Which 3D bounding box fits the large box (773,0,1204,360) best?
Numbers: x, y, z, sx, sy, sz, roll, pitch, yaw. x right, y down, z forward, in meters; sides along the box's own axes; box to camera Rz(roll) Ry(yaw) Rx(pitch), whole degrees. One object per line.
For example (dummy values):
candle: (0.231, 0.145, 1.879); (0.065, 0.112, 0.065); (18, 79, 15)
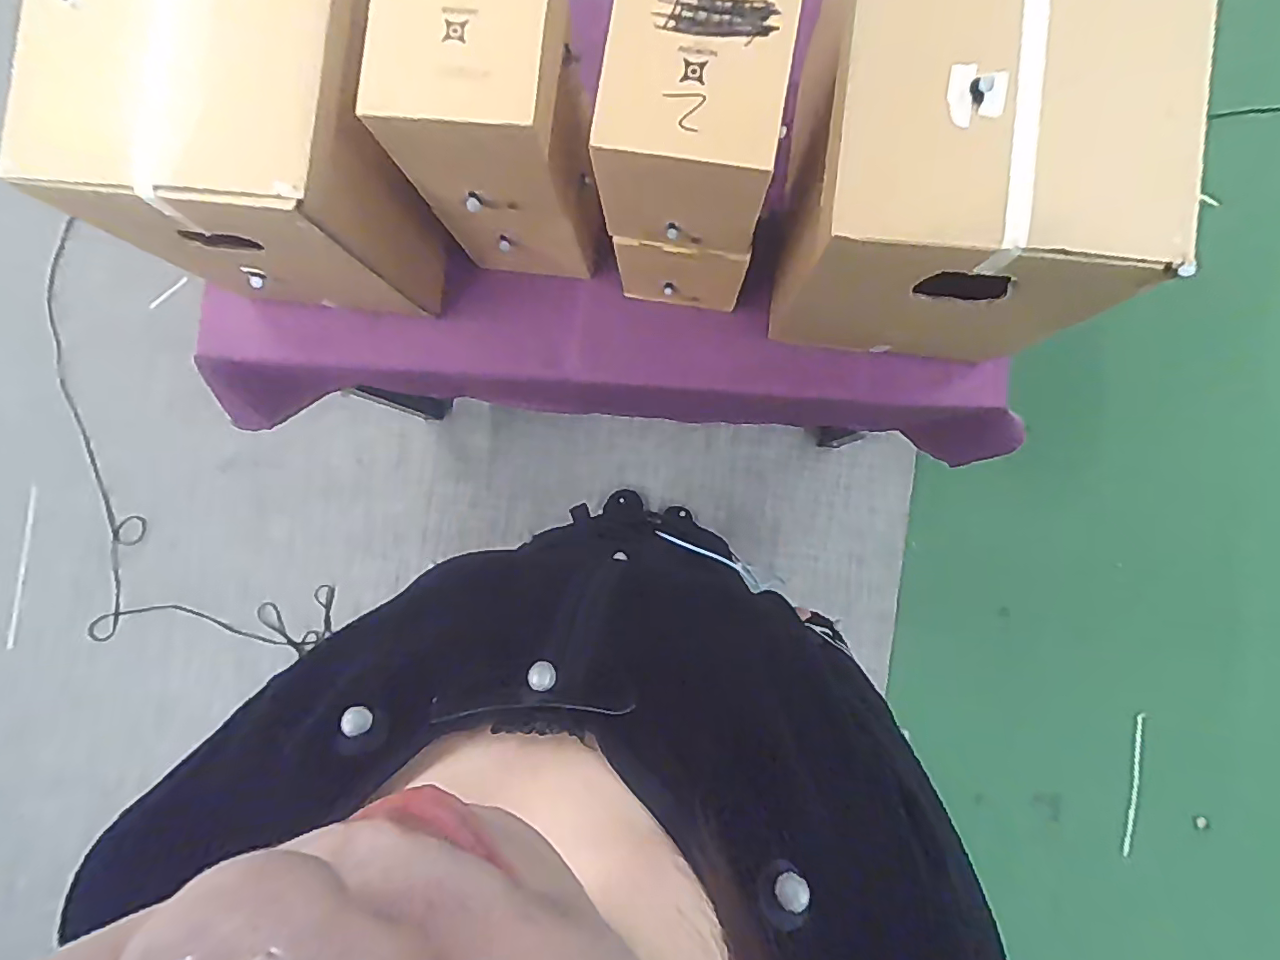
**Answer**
large box: (0.362, -0.392, 0.647); (0.320, 0.320, 0.408); (7, 89, 3)
